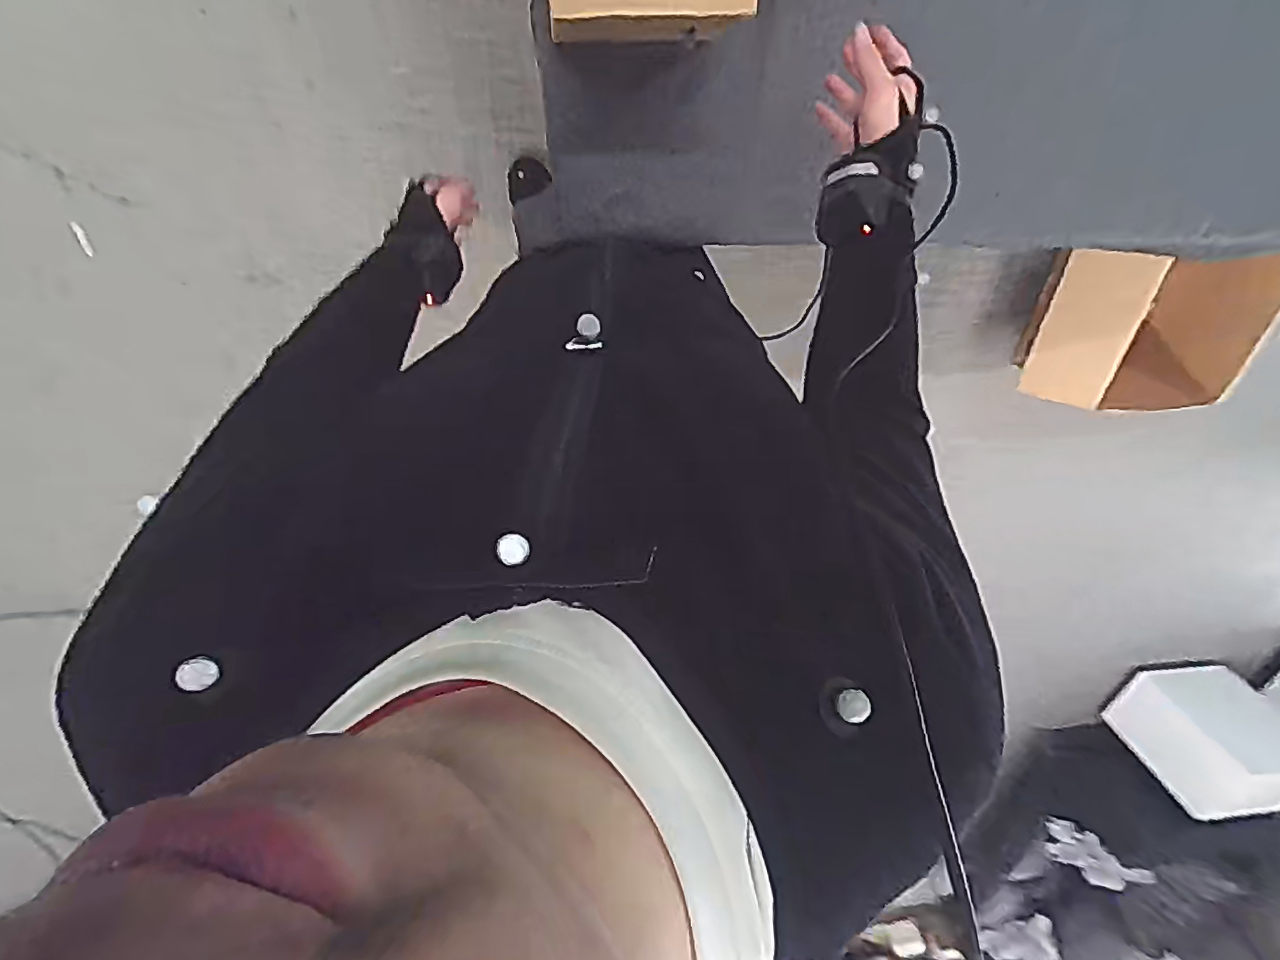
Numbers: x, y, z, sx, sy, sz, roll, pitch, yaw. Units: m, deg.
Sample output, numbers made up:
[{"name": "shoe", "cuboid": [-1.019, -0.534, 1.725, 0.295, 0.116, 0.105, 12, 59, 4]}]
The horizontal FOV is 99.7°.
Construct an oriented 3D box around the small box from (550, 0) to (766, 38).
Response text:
[{"name": "small box", "cuboid": [0.005, -0.490, 0.457, 0.179, 0.176, 0.168, -6, 124, -4]}]
